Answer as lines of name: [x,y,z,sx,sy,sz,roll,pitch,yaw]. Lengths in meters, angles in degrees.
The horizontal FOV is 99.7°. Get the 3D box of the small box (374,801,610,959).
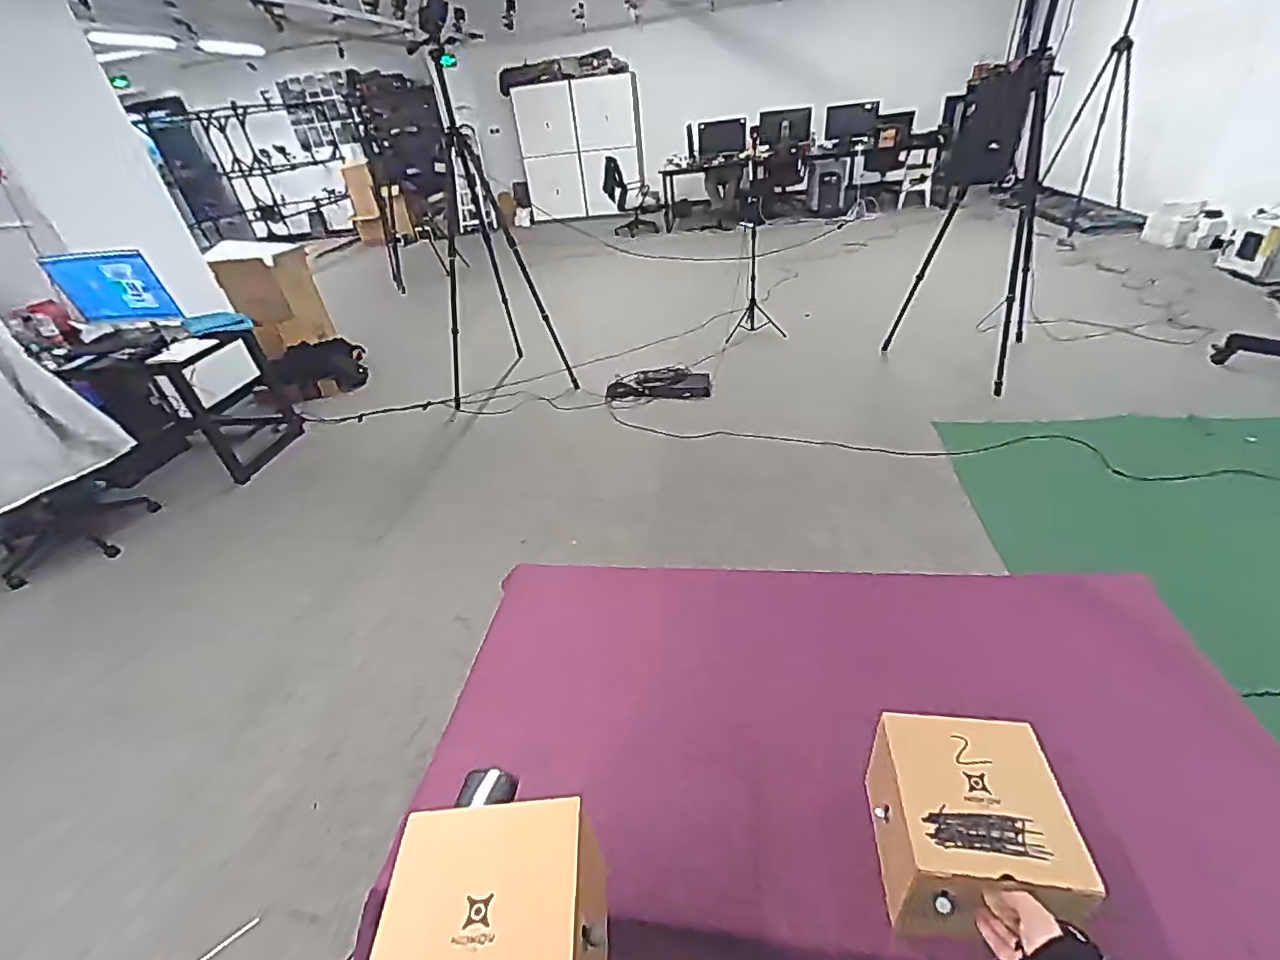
small box: [-0.120,0.421,0.484,0.168,0.176,0.179,-6,37,2]
